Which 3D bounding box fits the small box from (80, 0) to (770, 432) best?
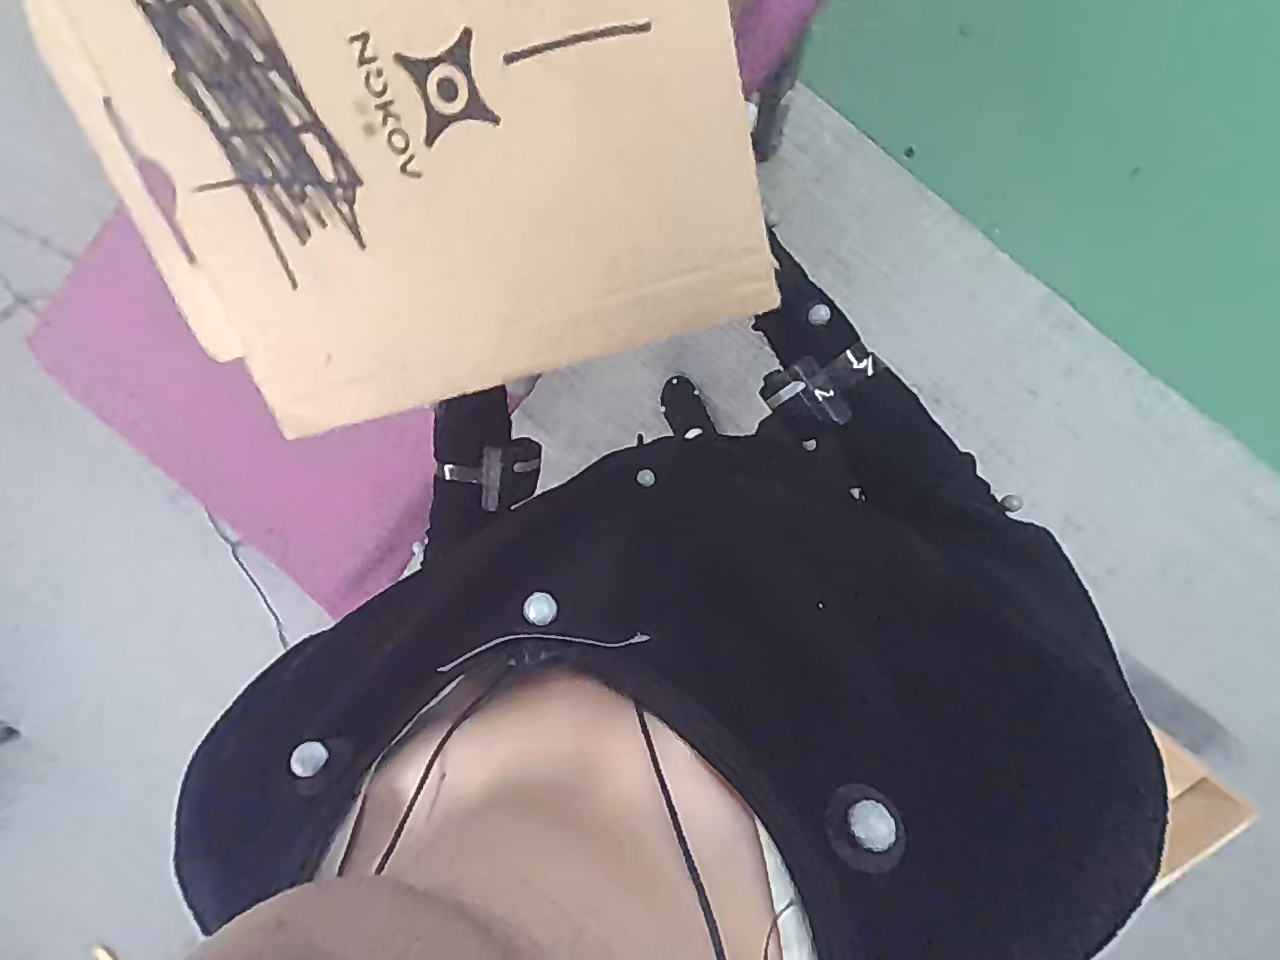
[{"bbox_3d":[-0.056,-0.137,0.230,0.179,0.176,0.168,-13,113,8],"label":"small box"}]
